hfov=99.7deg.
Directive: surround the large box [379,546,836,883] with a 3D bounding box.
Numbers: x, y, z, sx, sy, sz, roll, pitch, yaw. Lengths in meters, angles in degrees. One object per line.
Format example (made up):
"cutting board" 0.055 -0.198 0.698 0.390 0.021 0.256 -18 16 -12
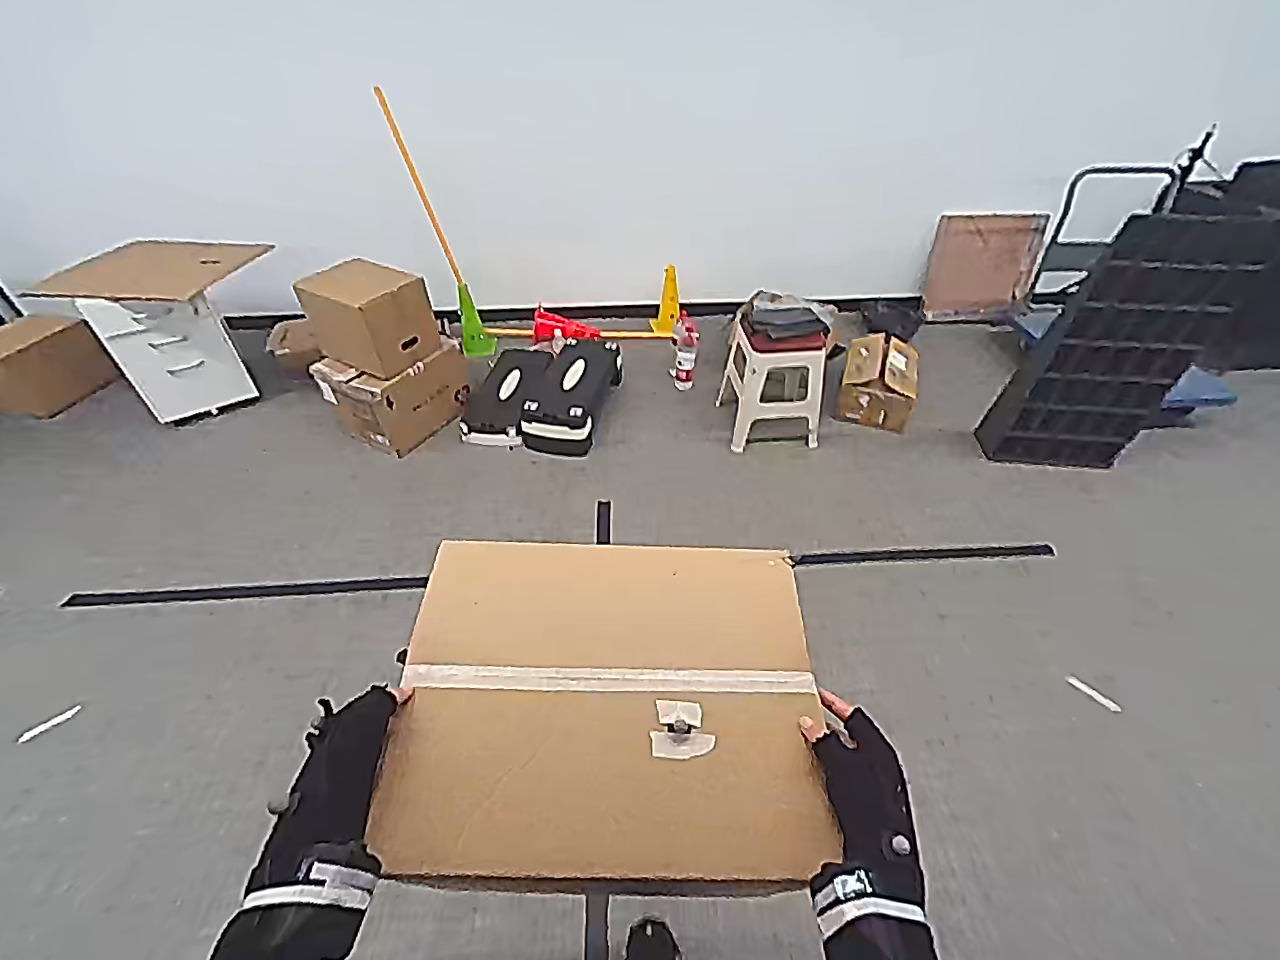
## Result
"large box" -0.034 0.296 0.671 0.408 0.320 0.320 2 51 -2
